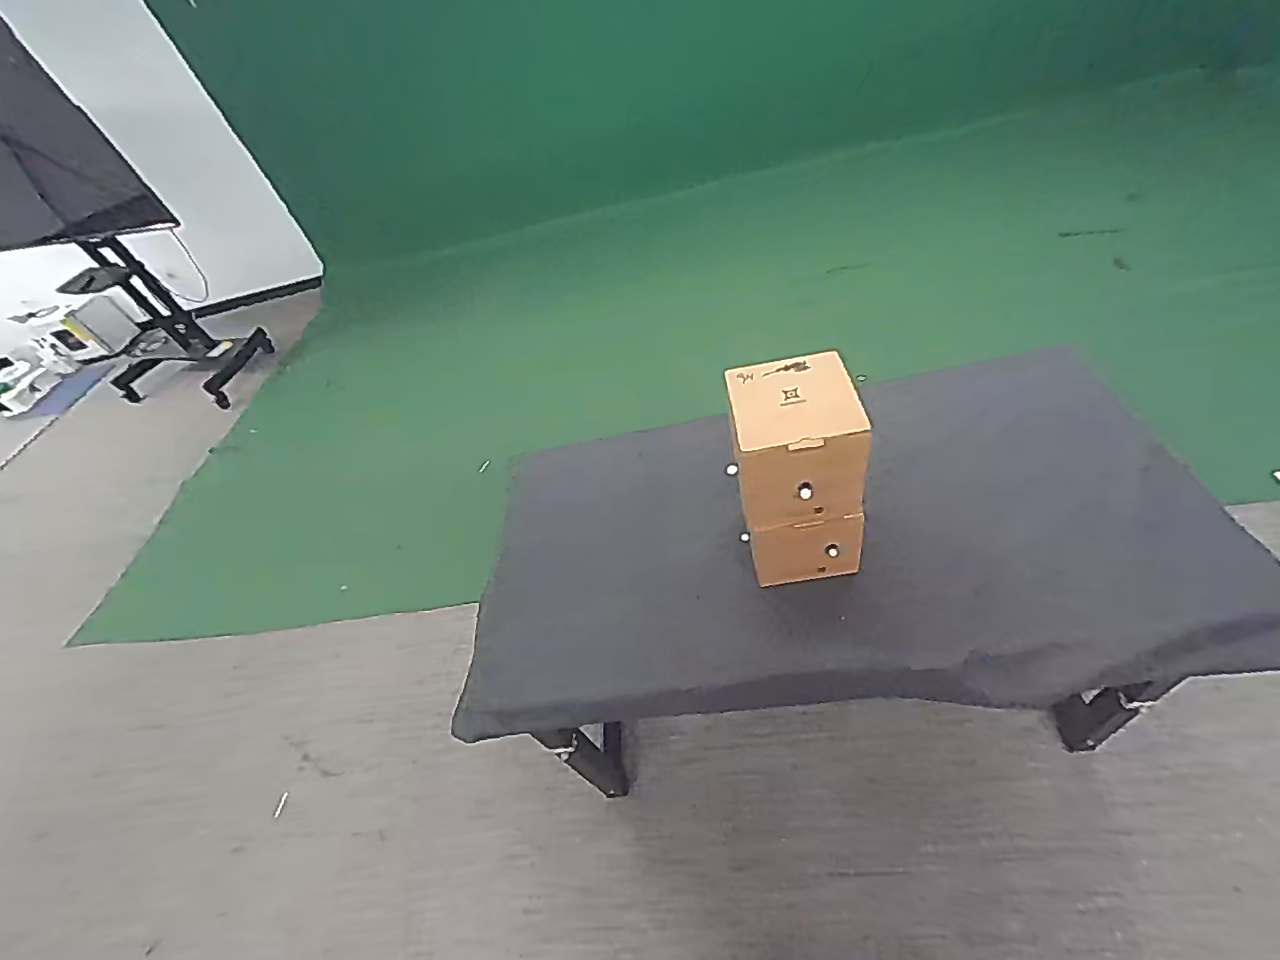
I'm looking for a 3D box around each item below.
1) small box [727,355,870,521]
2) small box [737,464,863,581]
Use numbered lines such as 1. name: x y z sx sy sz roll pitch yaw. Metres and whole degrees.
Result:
1. small box: 0.227 -0.053 0.801 0.168 0.176 0.179 -8 49 8
2. small box: 0.265 0.056 0.916 0.168 0.176 0.179 -10 46 7
